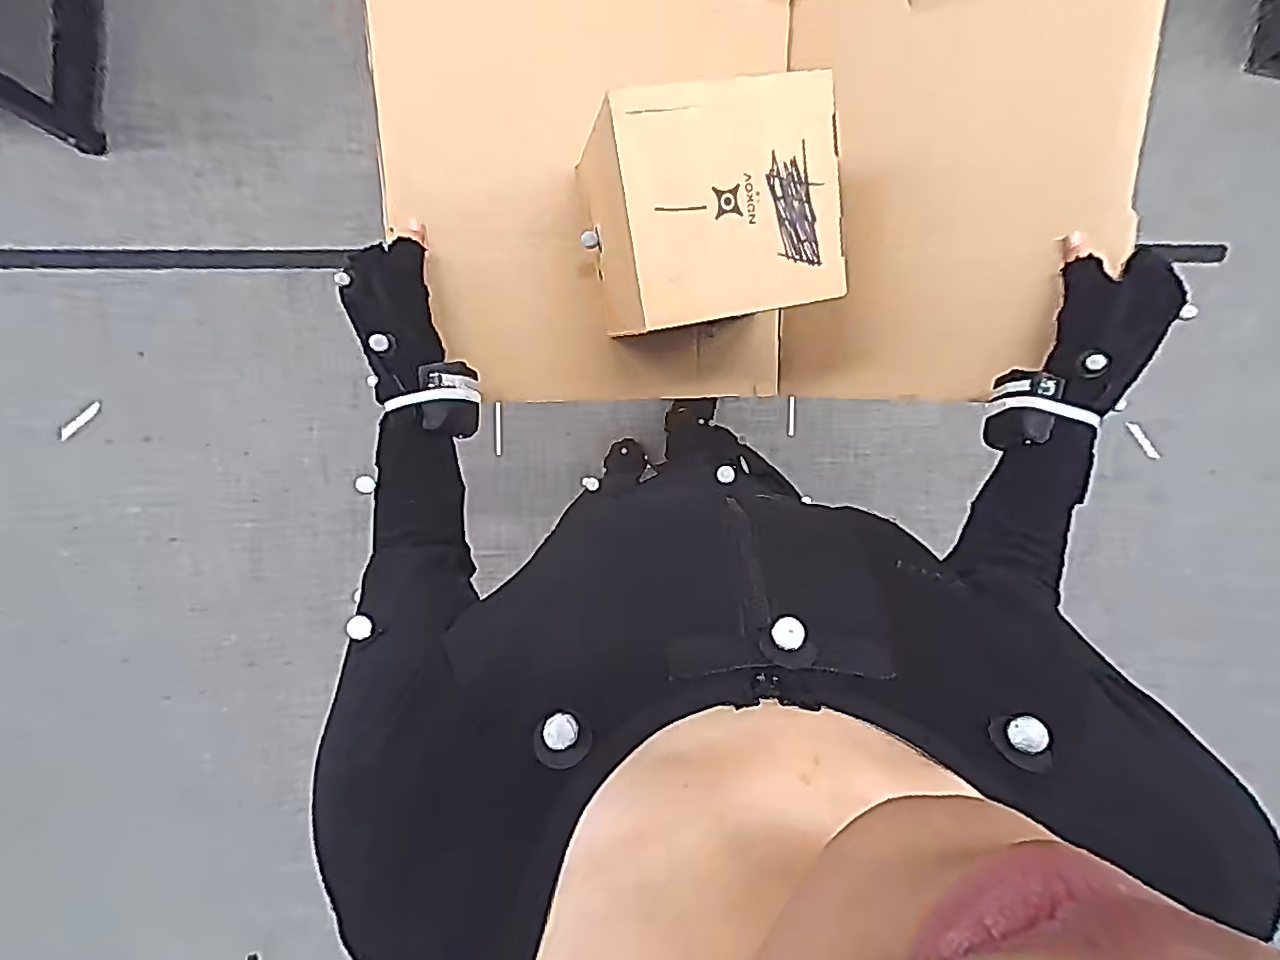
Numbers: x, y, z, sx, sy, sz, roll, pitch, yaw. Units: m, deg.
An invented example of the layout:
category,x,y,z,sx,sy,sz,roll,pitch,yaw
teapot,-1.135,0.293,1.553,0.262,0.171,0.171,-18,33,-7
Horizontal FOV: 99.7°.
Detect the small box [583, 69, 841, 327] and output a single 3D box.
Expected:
category,x,y,z,sx,sy,sz,roll,pitch,yaw
small box,0.056,-0.238,0.495,0.179,0.176,0.168,-13,106,-10
